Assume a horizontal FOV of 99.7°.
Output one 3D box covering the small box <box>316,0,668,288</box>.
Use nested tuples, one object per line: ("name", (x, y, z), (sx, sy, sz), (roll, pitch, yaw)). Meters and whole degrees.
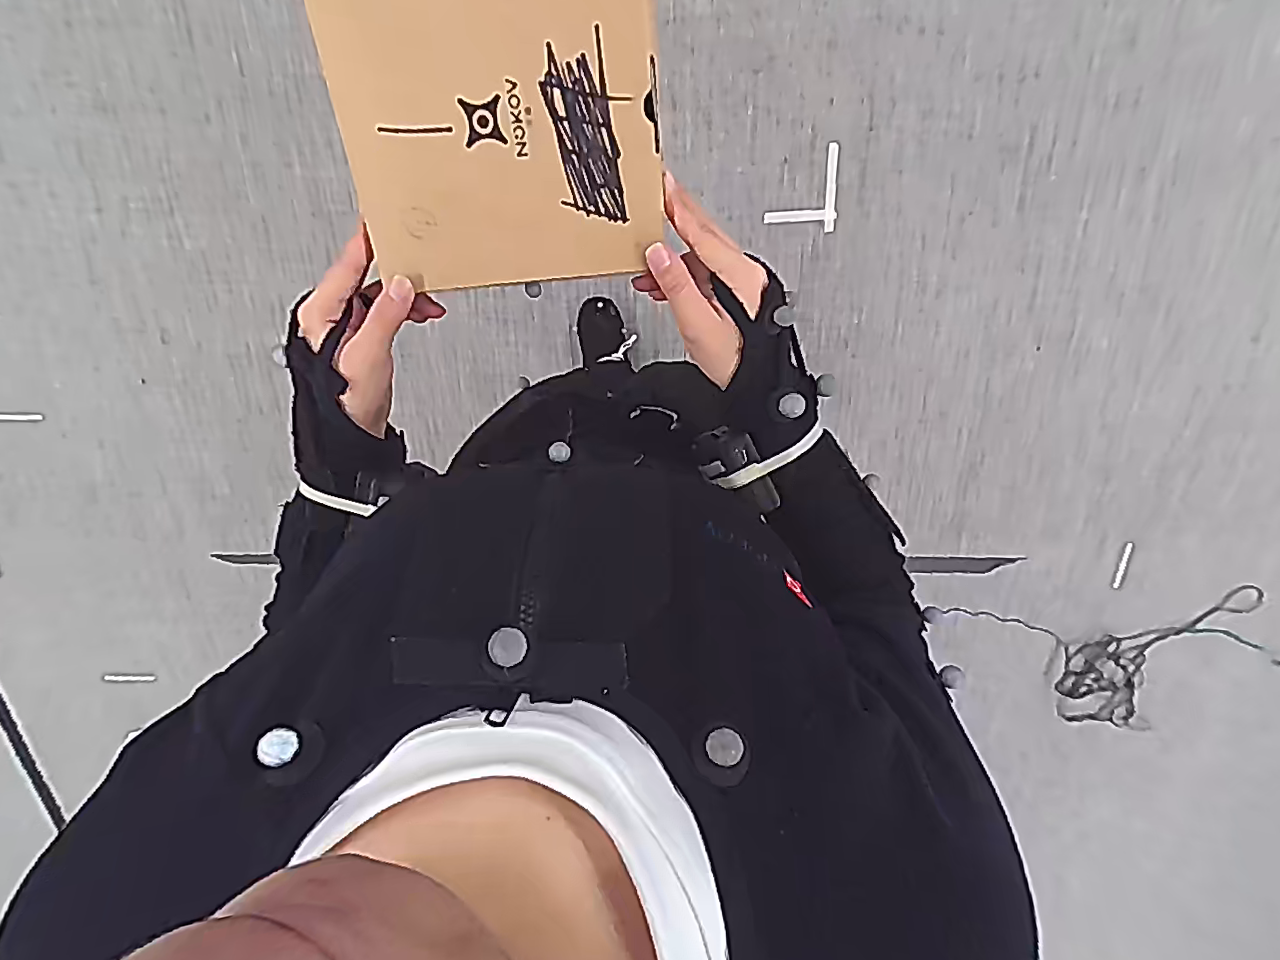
("small box", (-0.078, -0.234, 0.374), (0.179, 0.176, 0.168), (-5, 115, 1))
